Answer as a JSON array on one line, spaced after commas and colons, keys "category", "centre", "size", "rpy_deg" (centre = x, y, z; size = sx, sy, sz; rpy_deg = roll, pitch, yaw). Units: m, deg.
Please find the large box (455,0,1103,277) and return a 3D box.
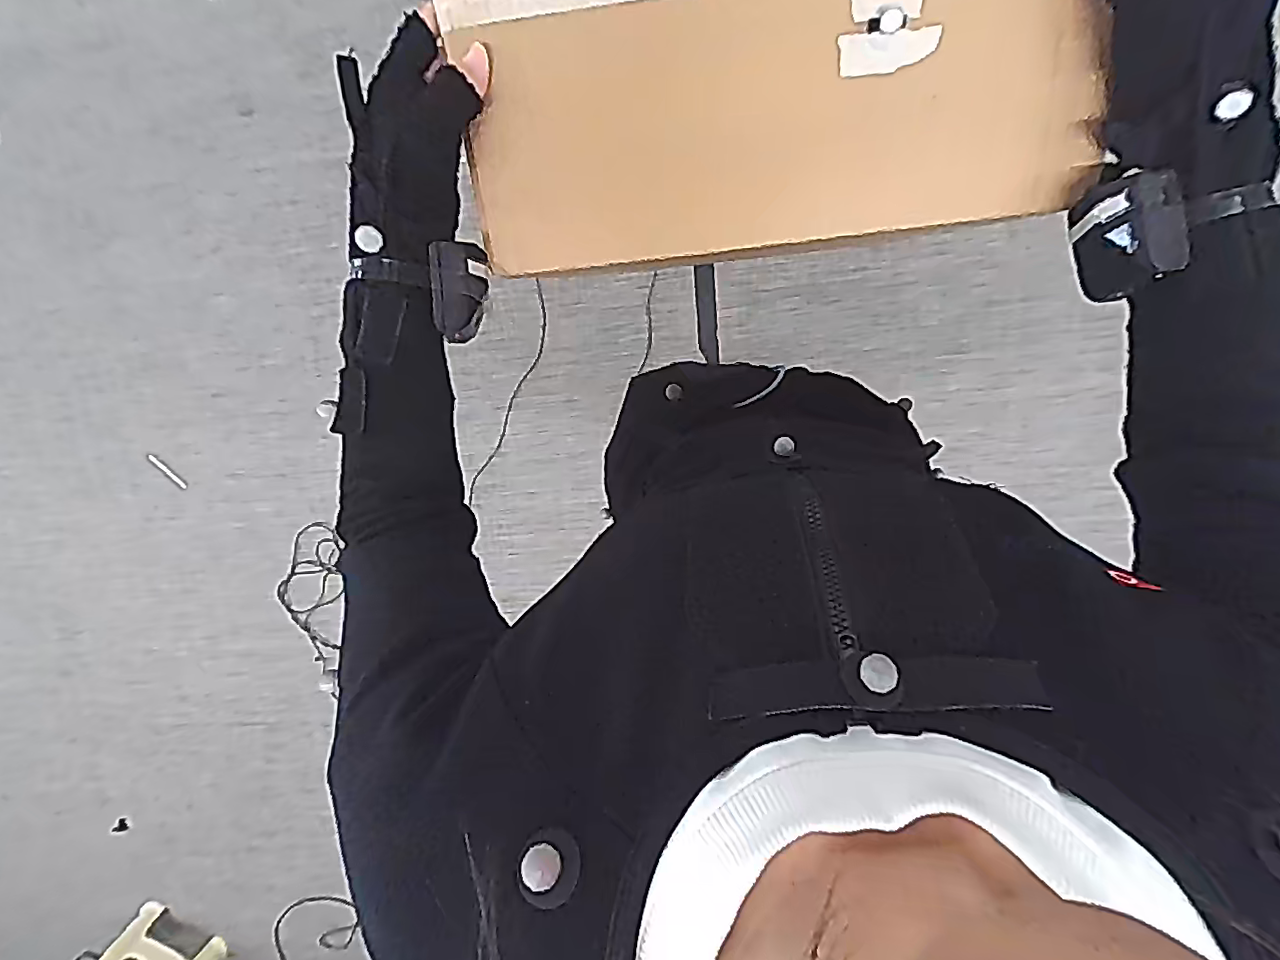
[{"category": "large box", "centre": [0.084, -0.366, 0.470], "size": [0.408, 0.320, 0.320], "rpy_deg": [-5, 110, 5]}]
